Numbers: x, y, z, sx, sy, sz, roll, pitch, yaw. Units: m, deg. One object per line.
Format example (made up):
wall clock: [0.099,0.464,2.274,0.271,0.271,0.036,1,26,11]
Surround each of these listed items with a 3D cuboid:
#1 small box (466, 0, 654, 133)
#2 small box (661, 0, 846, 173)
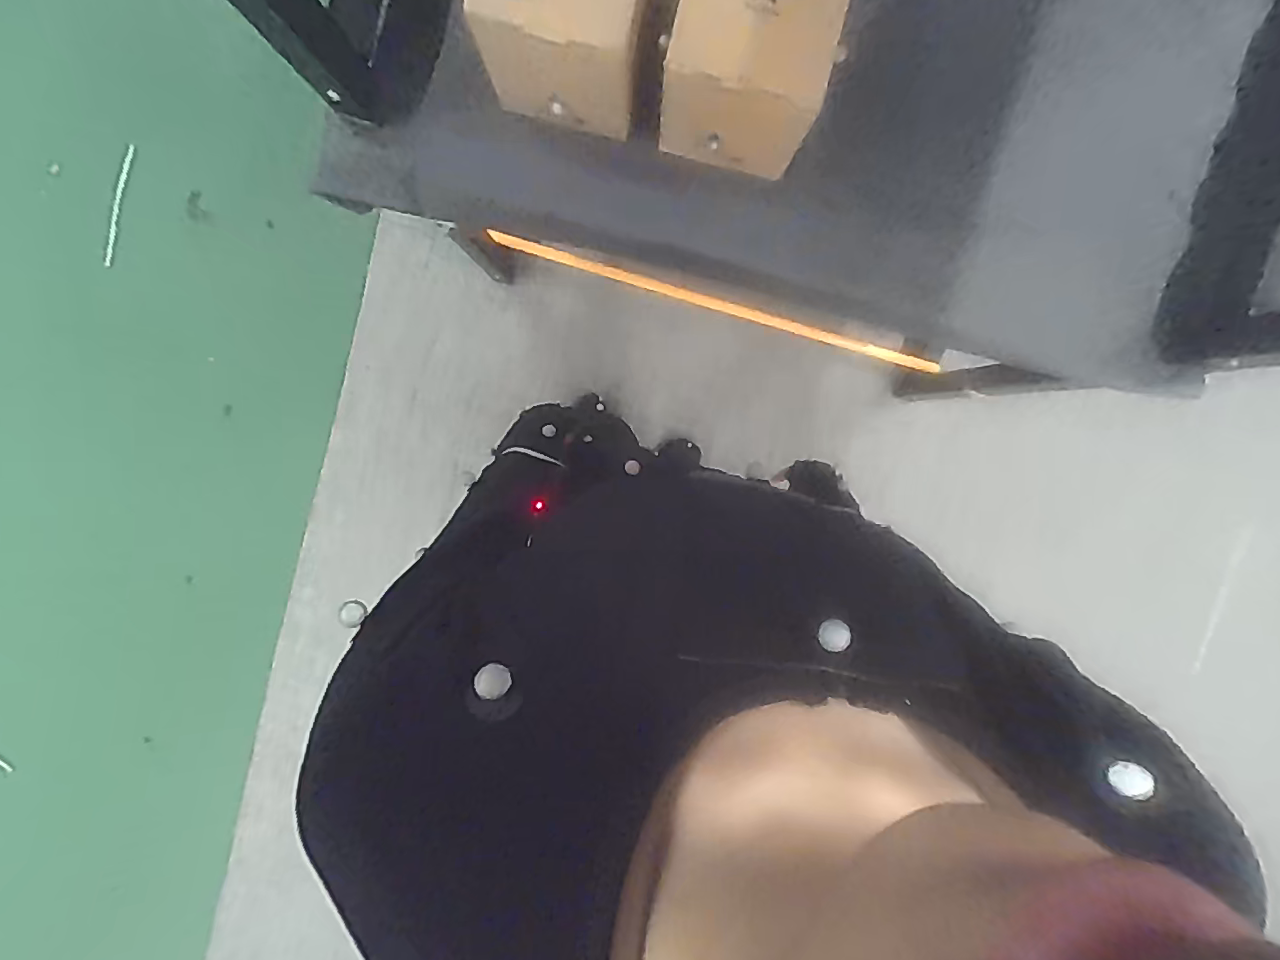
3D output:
small box: [-0.077,-0.538,0.605,0.168,0.176,0.179,13,96,-2]
small box: [0.122,-0.493,0.615,0.168,0.176,0.179,14,95,-1]
